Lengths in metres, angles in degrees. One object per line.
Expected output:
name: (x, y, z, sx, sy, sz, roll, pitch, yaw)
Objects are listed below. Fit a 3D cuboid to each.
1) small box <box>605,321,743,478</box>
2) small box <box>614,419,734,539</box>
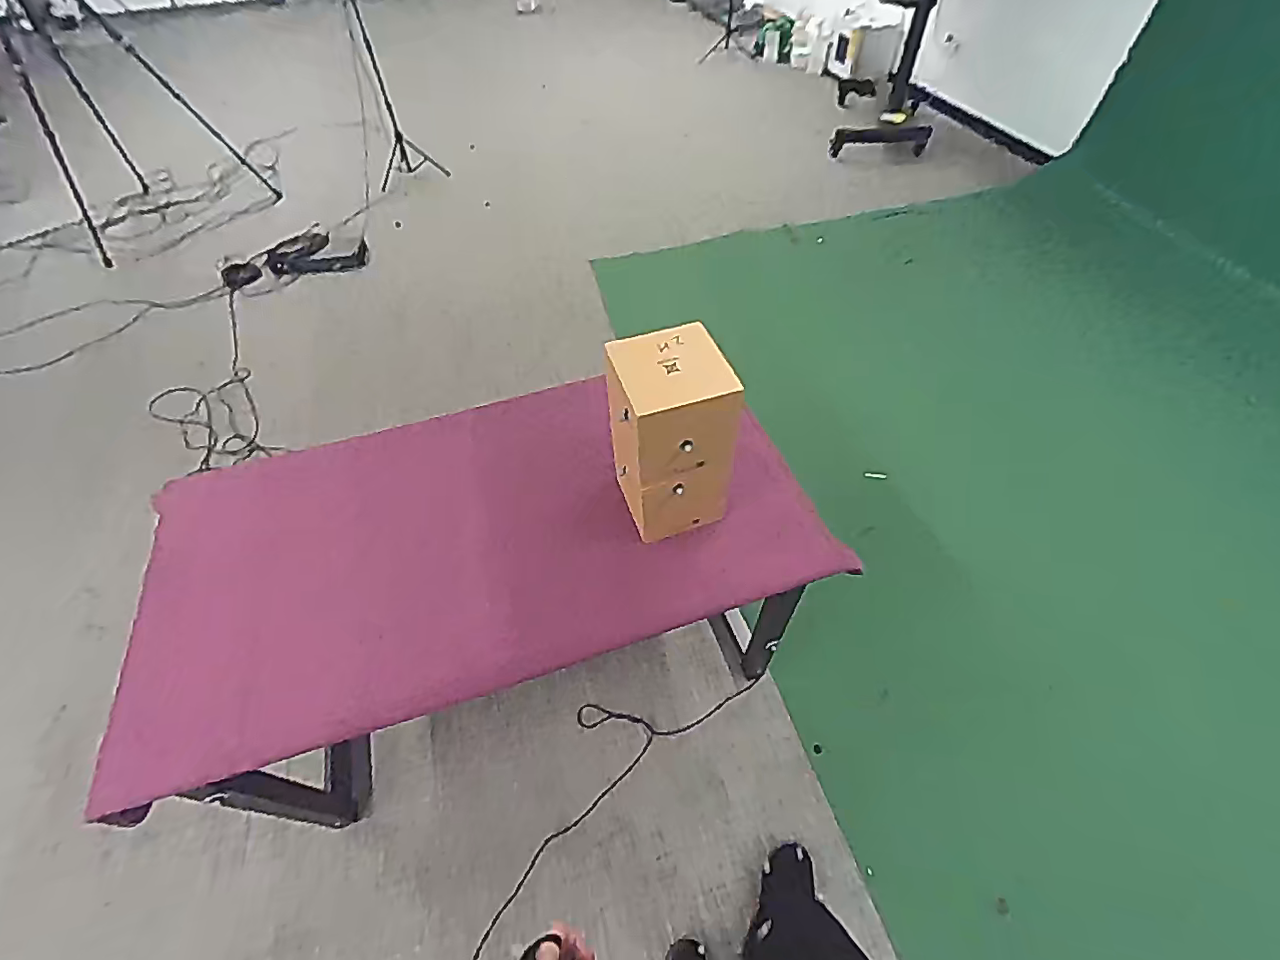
small box: (0.051, -0.122, 0.871, 0.168, 0.176, 0.179, -15, 52, -9)
small box: (0.058, -0.020, 1.001, 0.168, 0.176, 0.179, -17, 53, -9)
